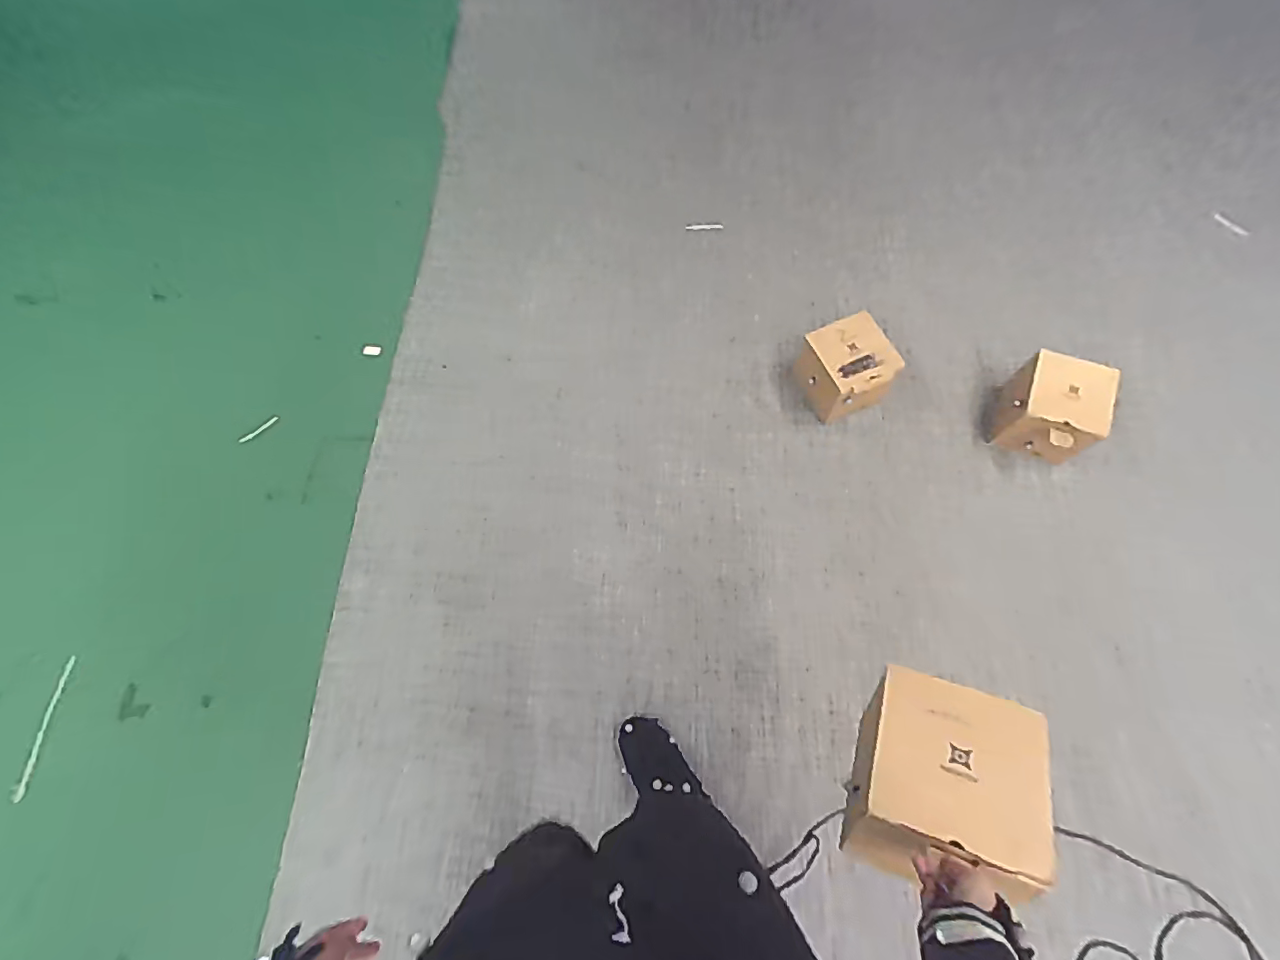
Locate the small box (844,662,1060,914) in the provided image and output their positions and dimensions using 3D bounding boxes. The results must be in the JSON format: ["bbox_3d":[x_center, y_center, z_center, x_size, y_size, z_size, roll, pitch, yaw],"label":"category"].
[{"bbox_3d":[0.342,0.350,0.616,0.168,0.176,0.179,16,47,20],"label":"small box"}]

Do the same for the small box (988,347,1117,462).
[{"bbox_3d":[0.938,-0.168,1.244,0.168,0.176,0.179,20,74,11],"label":"small box"}]
